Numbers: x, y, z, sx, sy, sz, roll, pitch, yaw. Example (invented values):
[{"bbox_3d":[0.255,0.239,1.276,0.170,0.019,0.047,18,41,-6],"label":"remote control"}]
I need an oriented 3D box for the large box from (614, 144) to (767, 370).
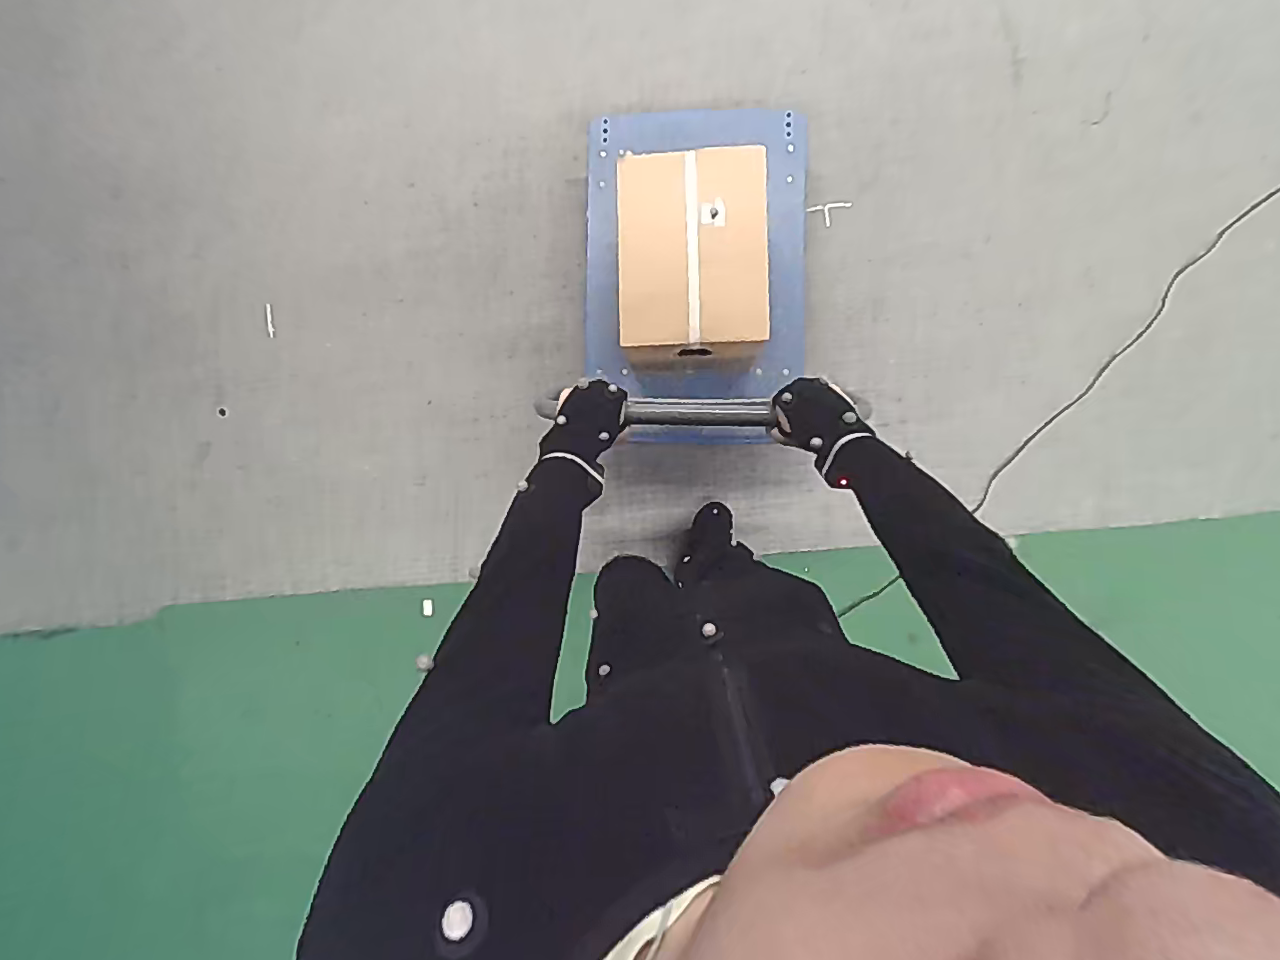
[{"bbox_3d":[0.119,-0.496,1.285,0.320,0.320,0.408,-1,90,5],"label":"large box"}]
